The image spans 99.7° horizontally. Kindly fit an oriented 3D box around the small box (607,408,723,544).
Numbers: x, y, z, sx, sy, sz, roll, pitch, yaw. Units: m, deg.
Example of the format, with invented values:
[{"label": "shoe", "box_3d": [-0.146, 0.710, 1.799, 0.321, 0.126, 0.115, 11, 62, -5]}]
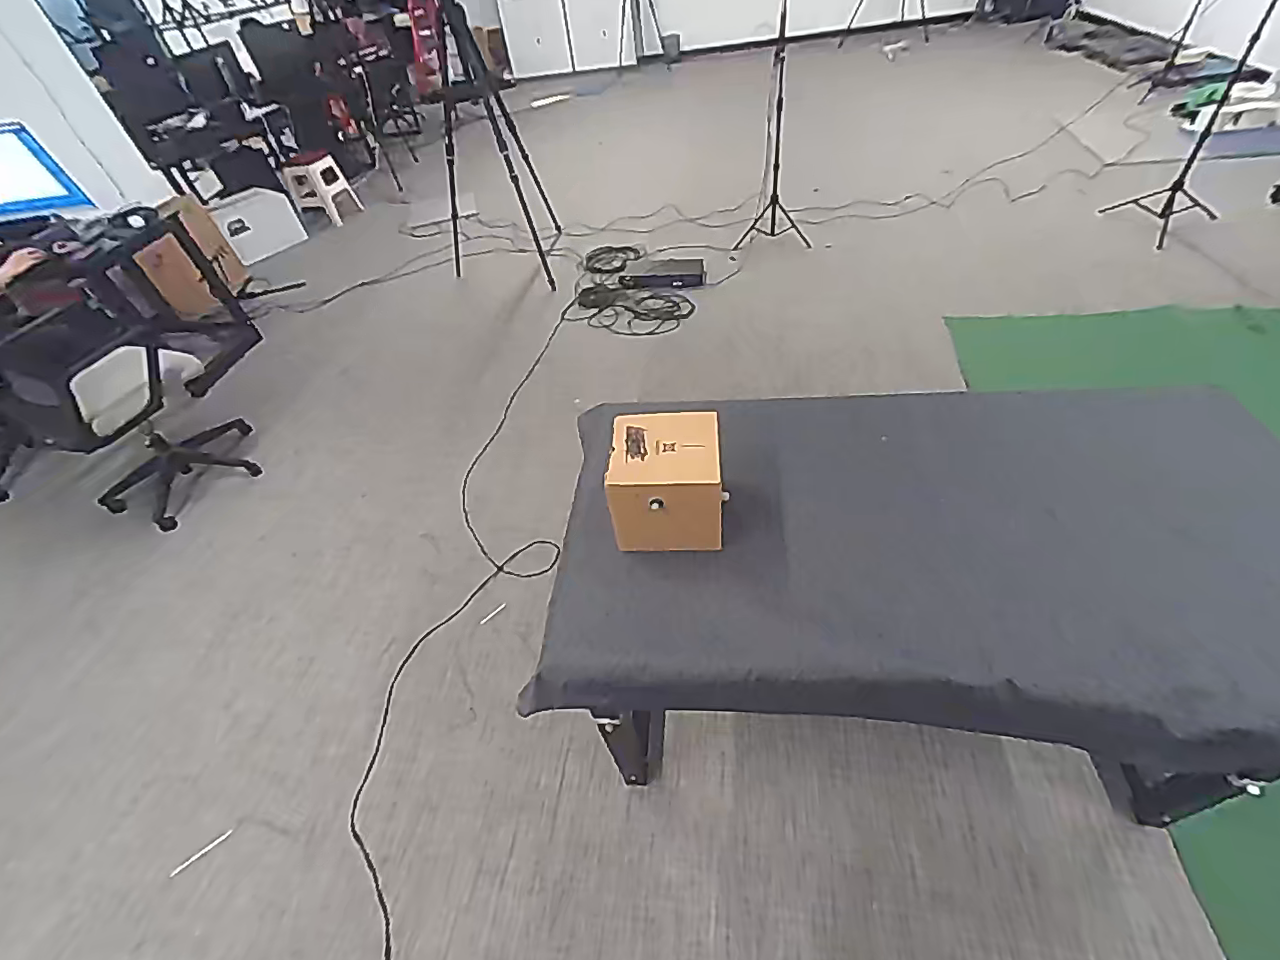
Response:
[{"label": "small box", "box_3d": [0.049, -0.004, 0.917, 0.179, 0.176, 0.168, -1, 47, 7]}]
